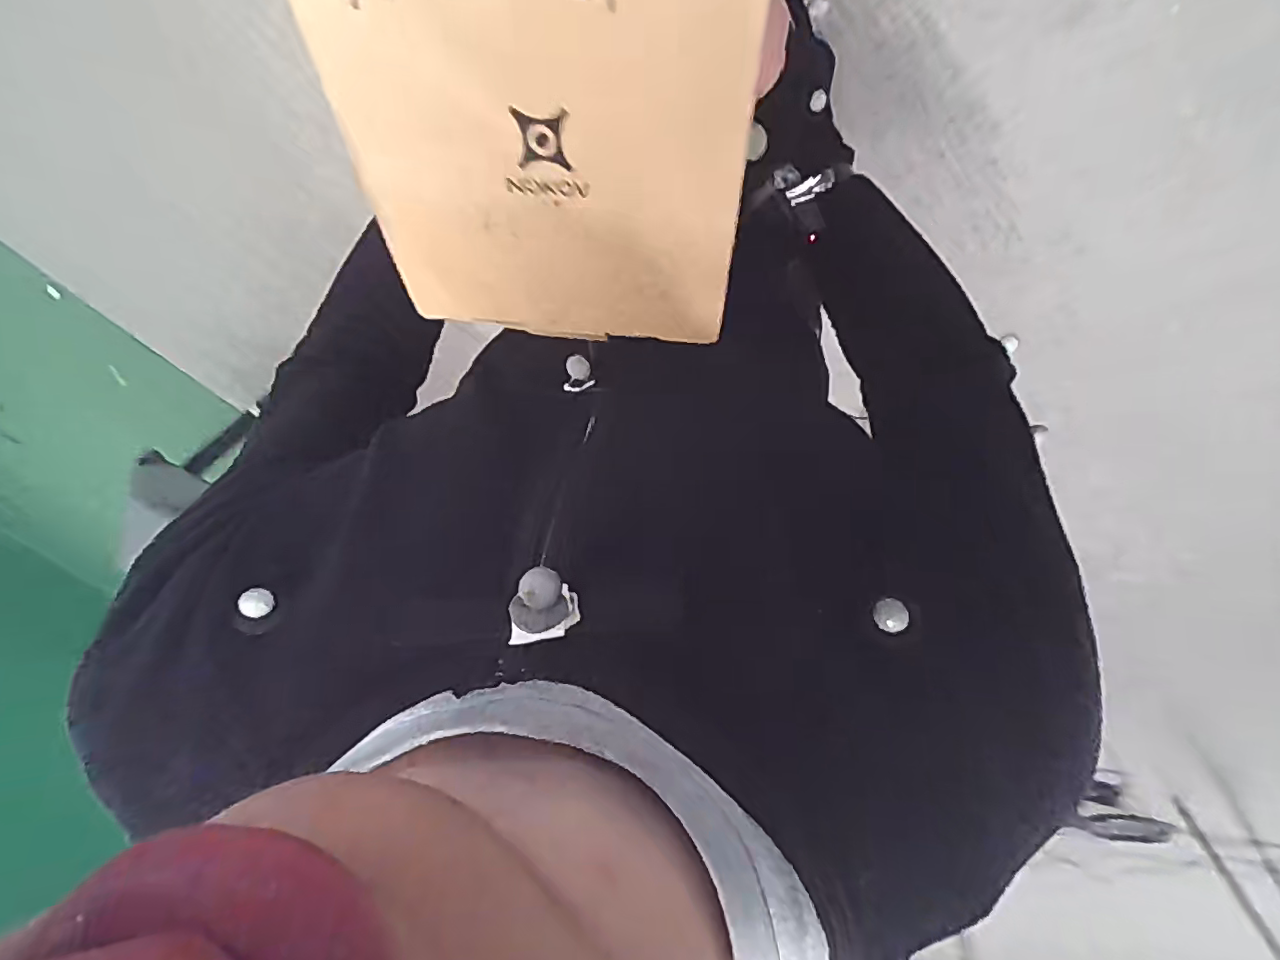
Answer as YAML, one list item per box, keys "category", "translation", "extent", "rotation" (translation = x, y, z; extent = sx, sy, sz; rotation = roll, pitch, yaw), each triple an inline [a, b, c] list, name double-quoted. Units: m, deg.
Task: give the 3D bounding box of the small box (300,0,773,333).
- category: "small box"
  translation: [-0.028, -0.202, 0.266]
  extent: [0.168, 0.176, 0.179]
  rotation: [6, 147, 3]
